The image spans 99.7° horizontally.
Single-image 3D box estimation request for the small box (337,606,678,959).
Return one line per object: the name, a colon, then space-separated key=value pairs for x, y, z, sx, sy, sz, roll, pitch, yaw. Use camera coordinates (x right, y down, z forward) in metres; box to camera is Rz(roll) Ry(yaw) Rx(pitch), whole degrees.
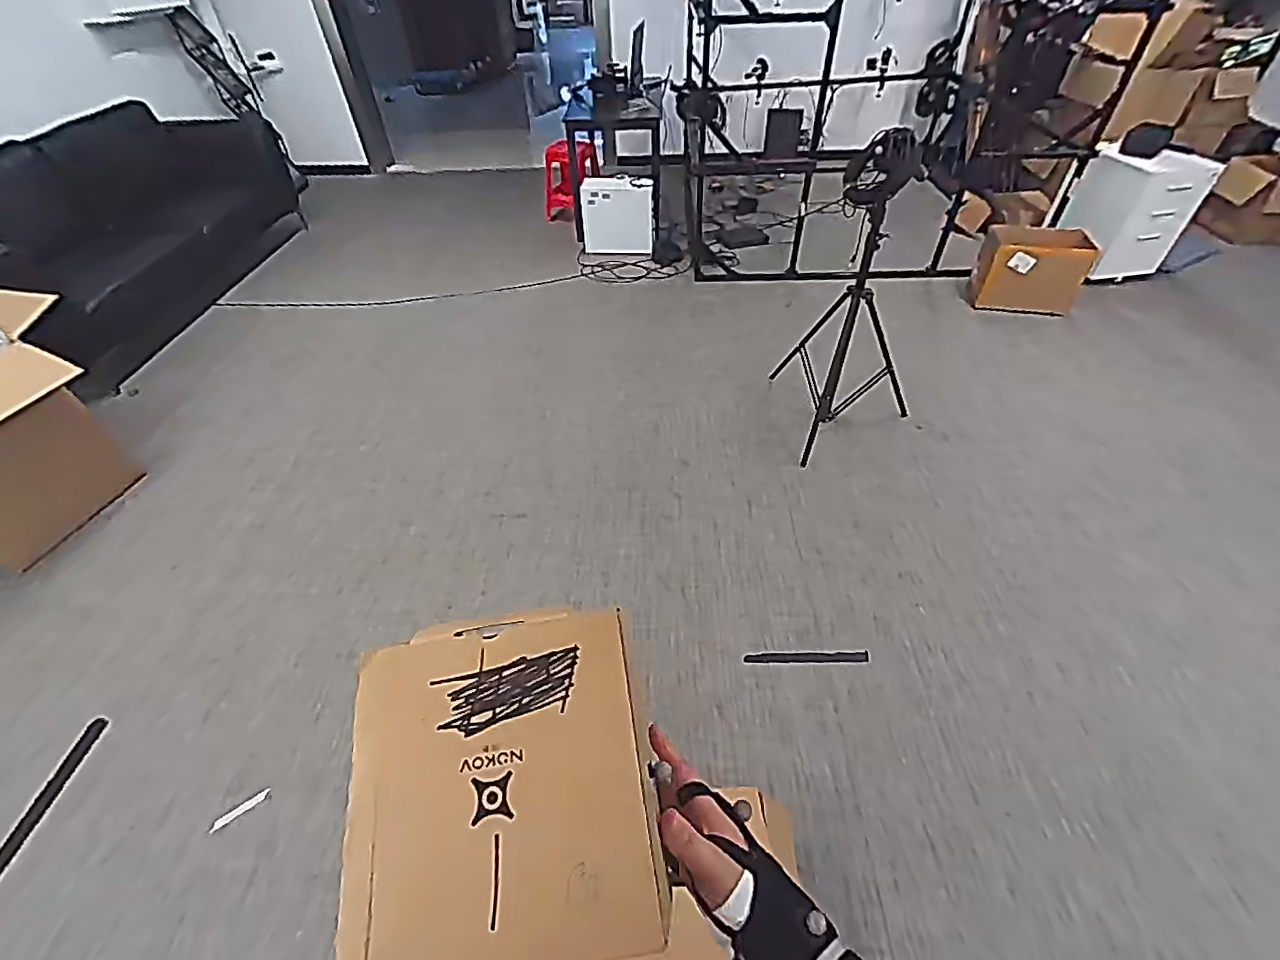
small box: x=-0.071 y=0.206 z=0.366 sx=0.168 sy=0.176 sz=0.179 roll=-10 pitch=60 yaw=-2
